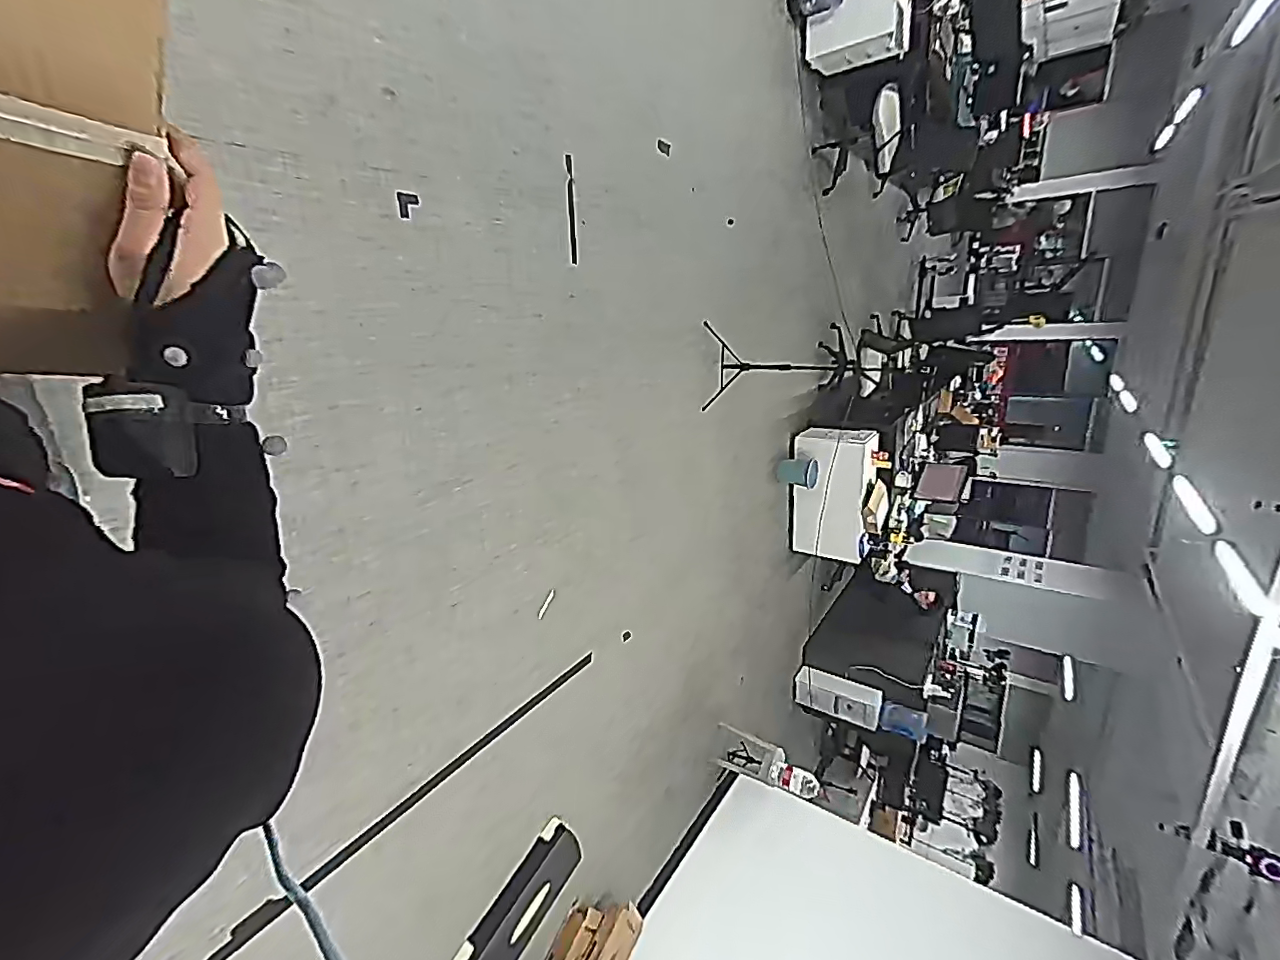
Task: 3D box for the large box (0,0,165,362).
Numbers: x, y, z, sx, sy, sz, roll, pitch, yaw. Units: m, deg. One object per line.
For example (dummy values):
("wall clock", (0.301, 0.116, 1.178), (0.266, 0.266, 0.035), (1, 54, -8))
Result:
("large box", (-0.513, -0.273, 0.243), (0.408, 0.320, 0.320), (-11, 141, -50))
